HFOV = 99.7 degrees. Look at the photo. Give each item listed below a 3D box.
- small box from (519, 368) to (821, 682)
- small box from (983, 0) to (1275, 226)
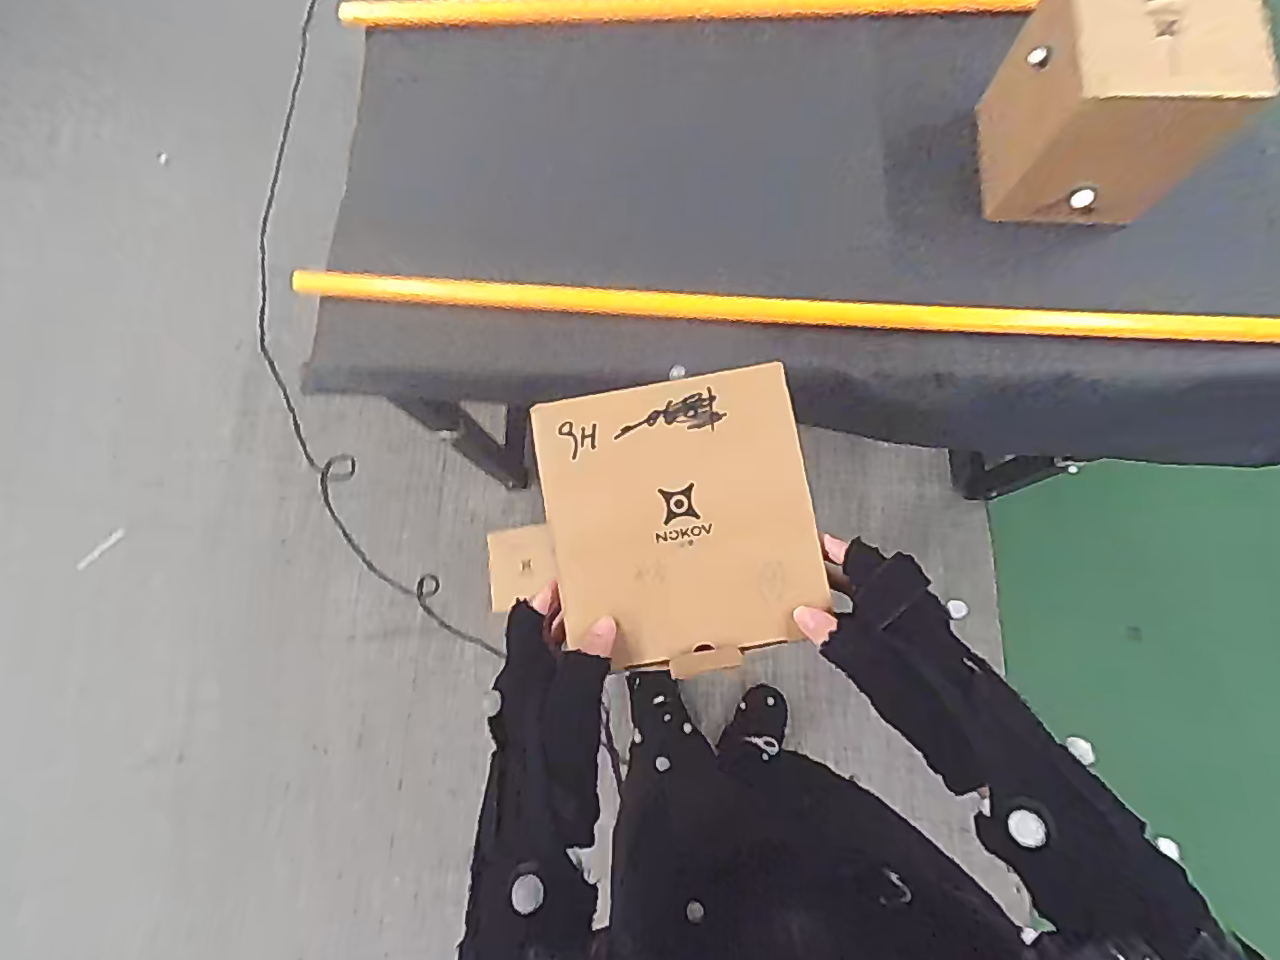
[{"bbox_3d":[0.022,0.033,0.425,0.168,0.176,0.179,-13,85,2],"label":"small box"},{"bbox_3d":[0.502,-0.411,0.588,0.168,0.176,0.179,4,77,5],"label":"small box"}]
